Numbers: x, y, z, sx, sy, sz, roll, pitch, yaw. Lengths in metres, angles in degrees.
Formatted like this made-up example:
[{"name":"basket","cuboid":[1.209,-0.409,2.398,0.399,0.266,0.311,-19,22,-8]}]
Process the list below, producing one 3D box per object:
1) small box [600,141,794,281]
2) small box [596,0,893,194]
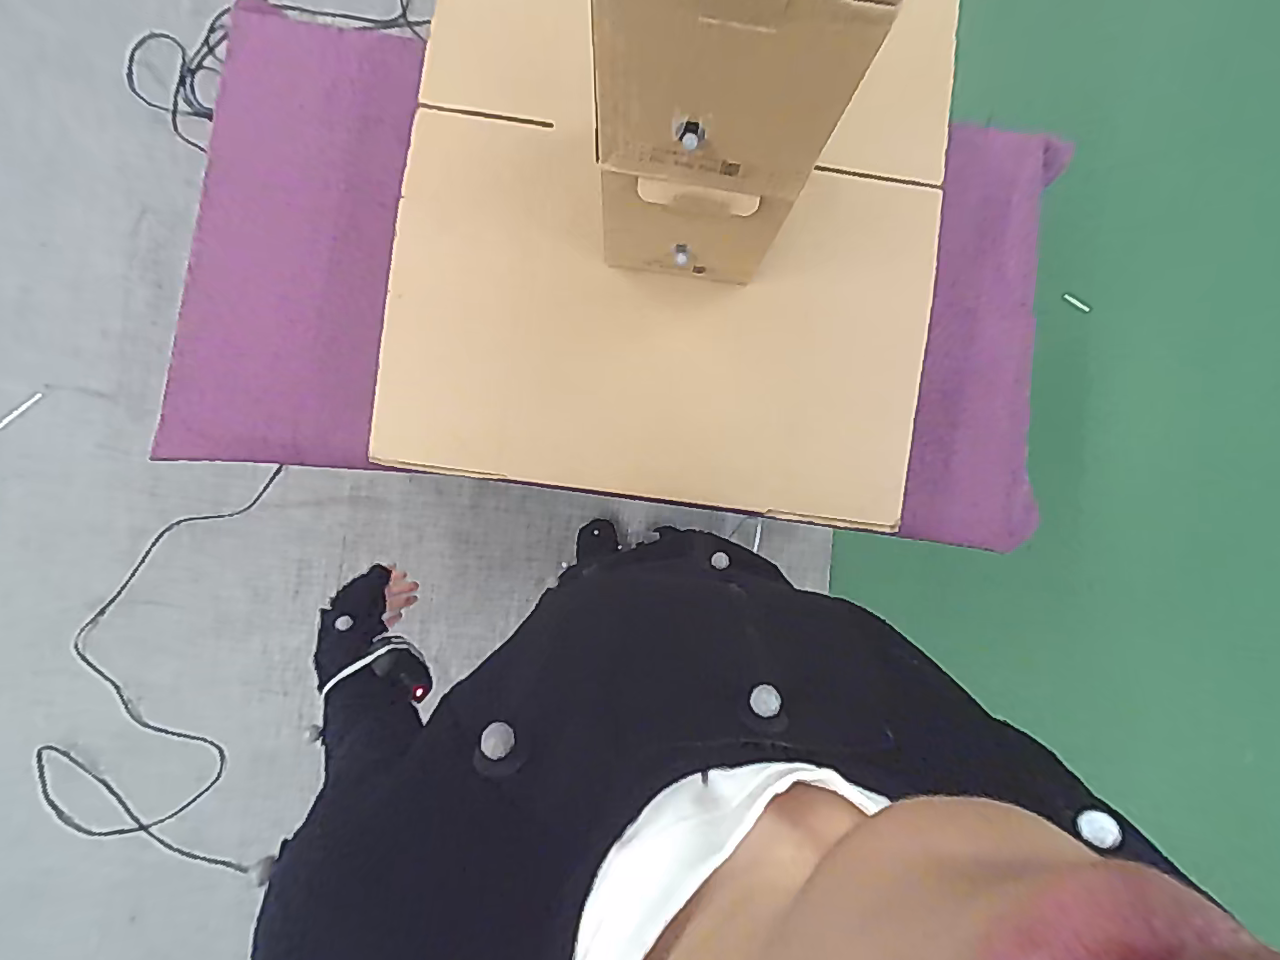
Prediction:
[{"name":"small box","cuboid":[0.054,-0.325,0.533,0.168,0.176,0.179,8,85,-1]},{"name":"small box","cuboid":[0.061,-0.338,0.370,0.168,0.176,0.179,8,85,-2]}]
